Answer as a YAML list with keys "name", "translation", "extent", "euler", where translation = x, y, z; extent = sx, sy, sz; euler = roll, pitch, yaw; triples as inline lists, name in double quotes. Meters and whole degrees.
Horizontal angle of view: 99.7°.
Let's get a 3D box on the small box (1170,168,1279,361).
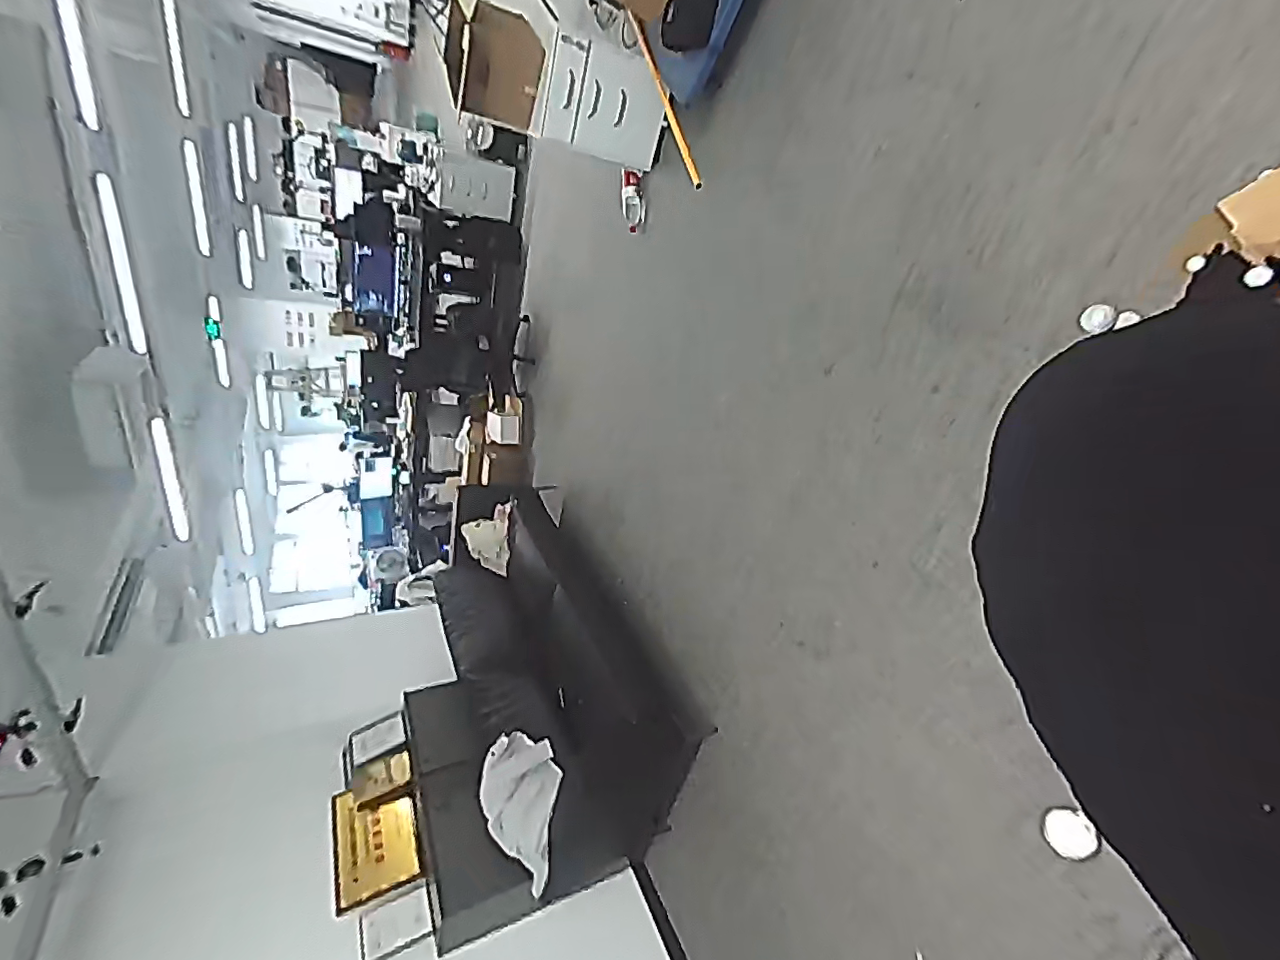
- name: "small box"
  translation: [0.696, -0.243, 0.530]
  extent: [0.176, 0.179, 0.168]
  euler: [-32, 76, 29]
